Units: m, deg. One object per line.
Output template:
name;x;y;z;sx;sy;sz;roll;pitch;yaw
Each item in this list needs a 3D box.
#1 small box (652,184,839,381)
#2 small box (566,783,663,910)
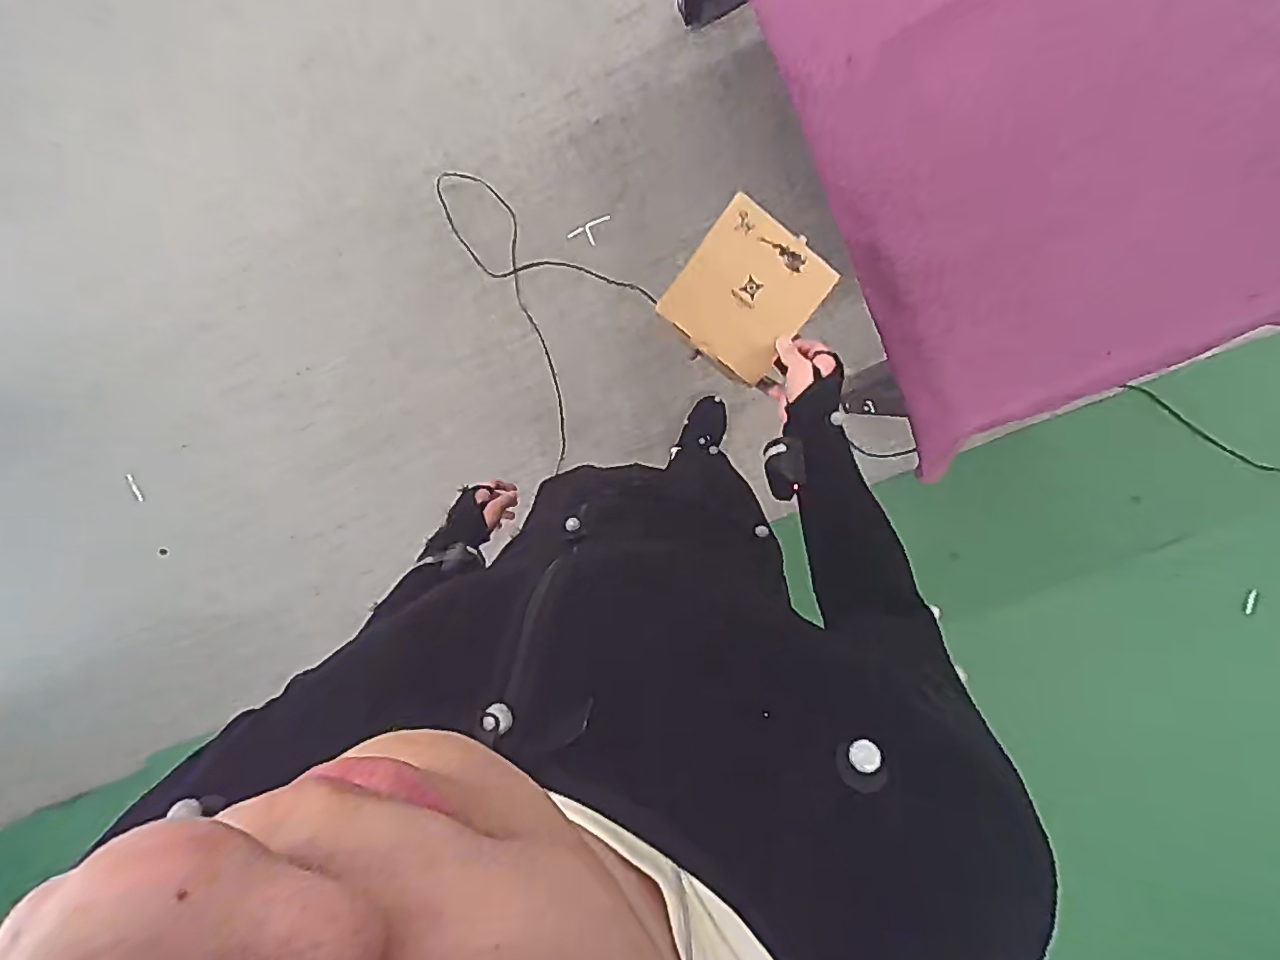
small box;0.133;-0.258;0.746;0.168;0.176;0.179;36;102;-8
small box;-0.055;0.909;1.353;0.168;0.176;0.179;-29;92;10
